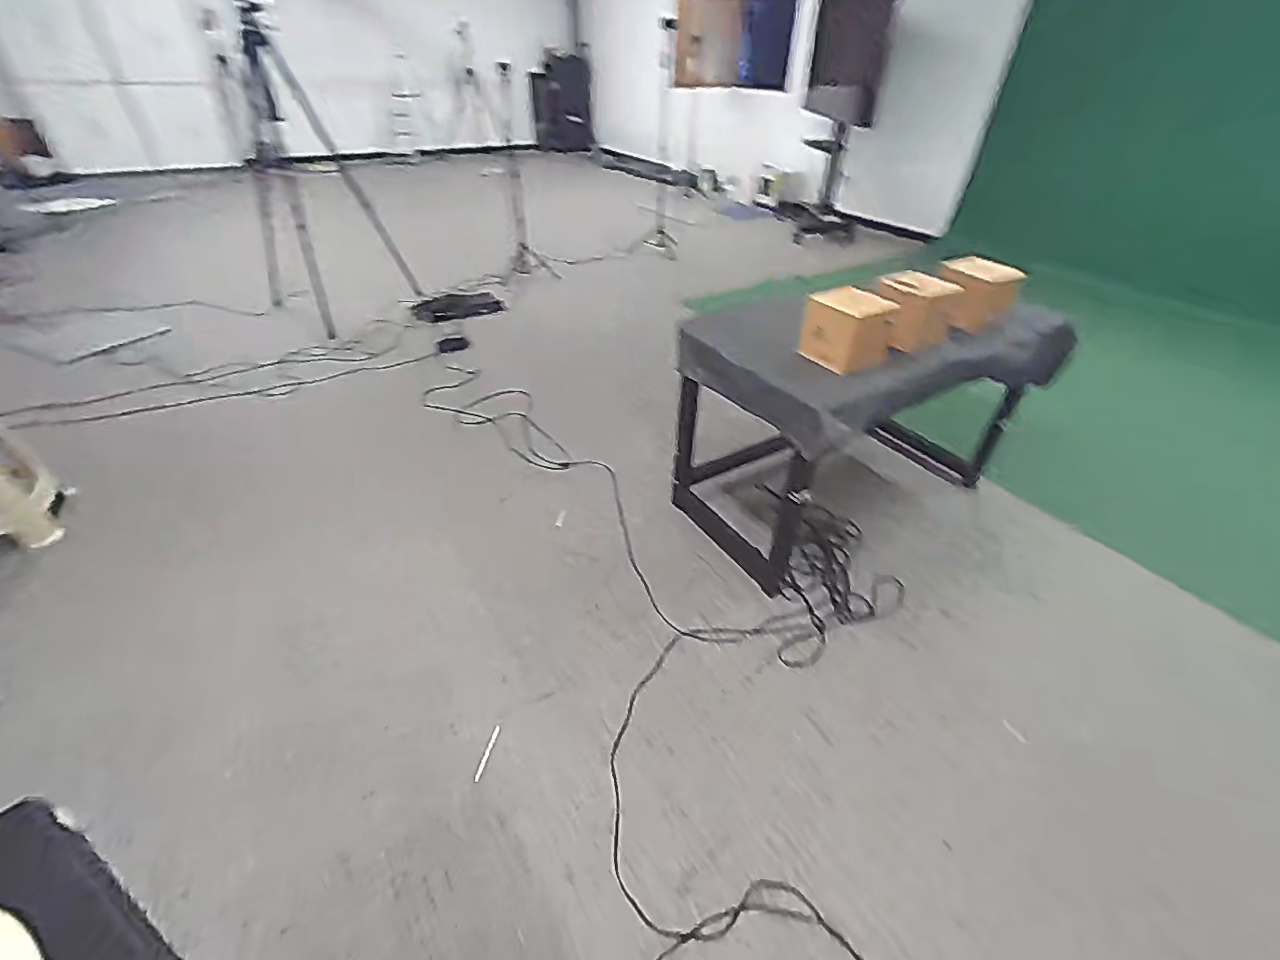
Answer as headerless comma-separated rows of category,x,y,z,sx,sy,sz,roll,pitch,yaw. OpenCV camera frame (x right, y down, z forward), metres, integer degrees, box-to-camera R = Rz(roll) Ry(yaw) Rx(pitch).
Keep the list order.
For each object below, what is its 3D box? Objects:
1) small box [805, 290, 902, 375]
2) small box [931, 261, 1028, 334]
small box,0.577,-0.406,1.489,0.179,0.176,0.168,-20,43,-26
small box,1.081,-0.587,1.741,0.168,0.176,0.179,-17,42,-20
